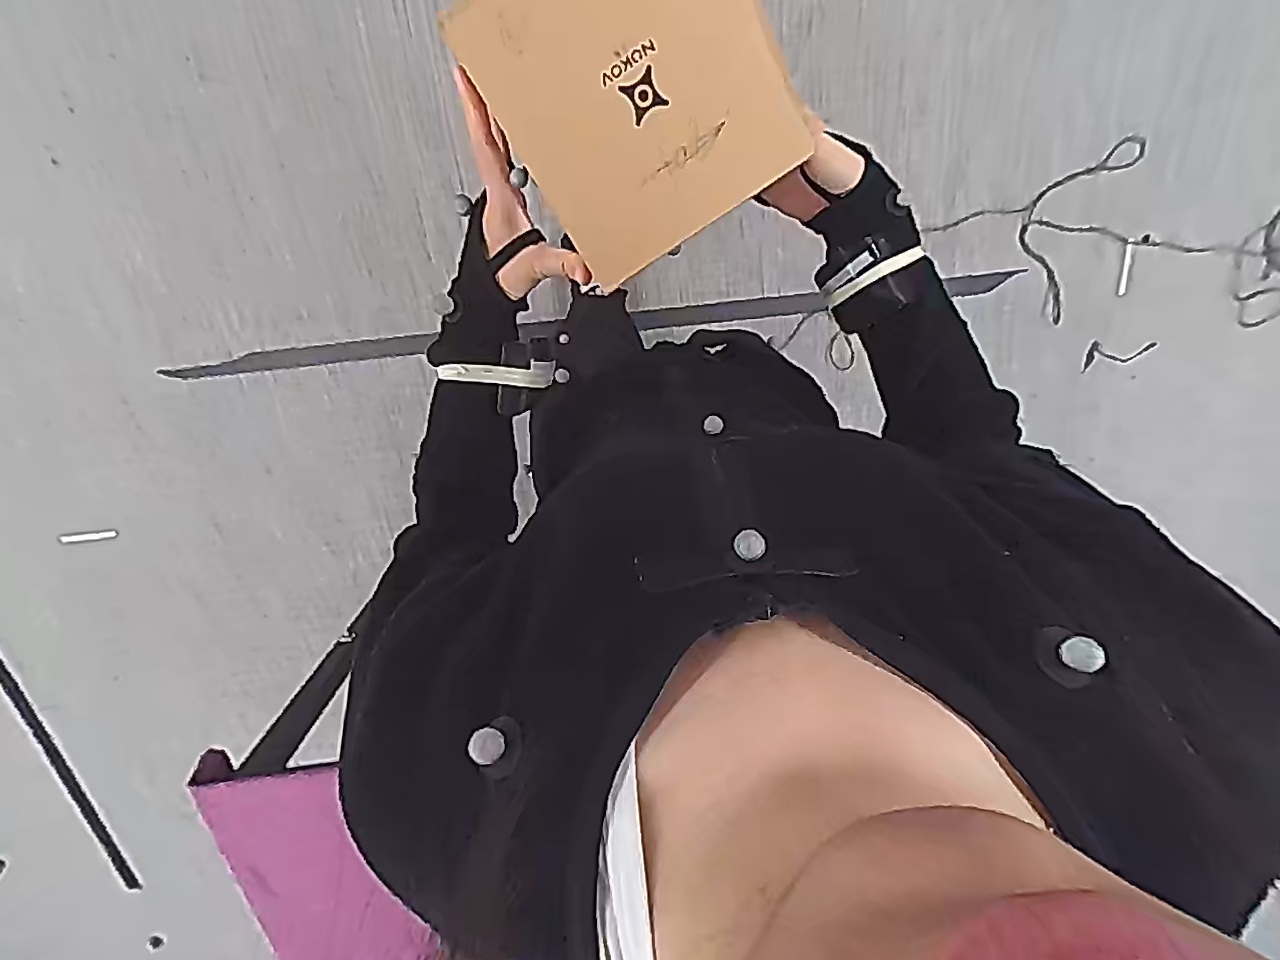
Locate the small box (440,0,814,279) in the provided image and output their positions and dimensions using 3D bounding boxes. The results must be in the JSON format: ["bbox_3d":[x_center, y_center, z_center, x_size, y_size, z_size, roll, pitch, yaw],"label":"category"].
[{"bbox_3d":[-0.009,-0.270,0.391,0.168,0.176,0.179,-30,115,8],"label":"small box"}]
